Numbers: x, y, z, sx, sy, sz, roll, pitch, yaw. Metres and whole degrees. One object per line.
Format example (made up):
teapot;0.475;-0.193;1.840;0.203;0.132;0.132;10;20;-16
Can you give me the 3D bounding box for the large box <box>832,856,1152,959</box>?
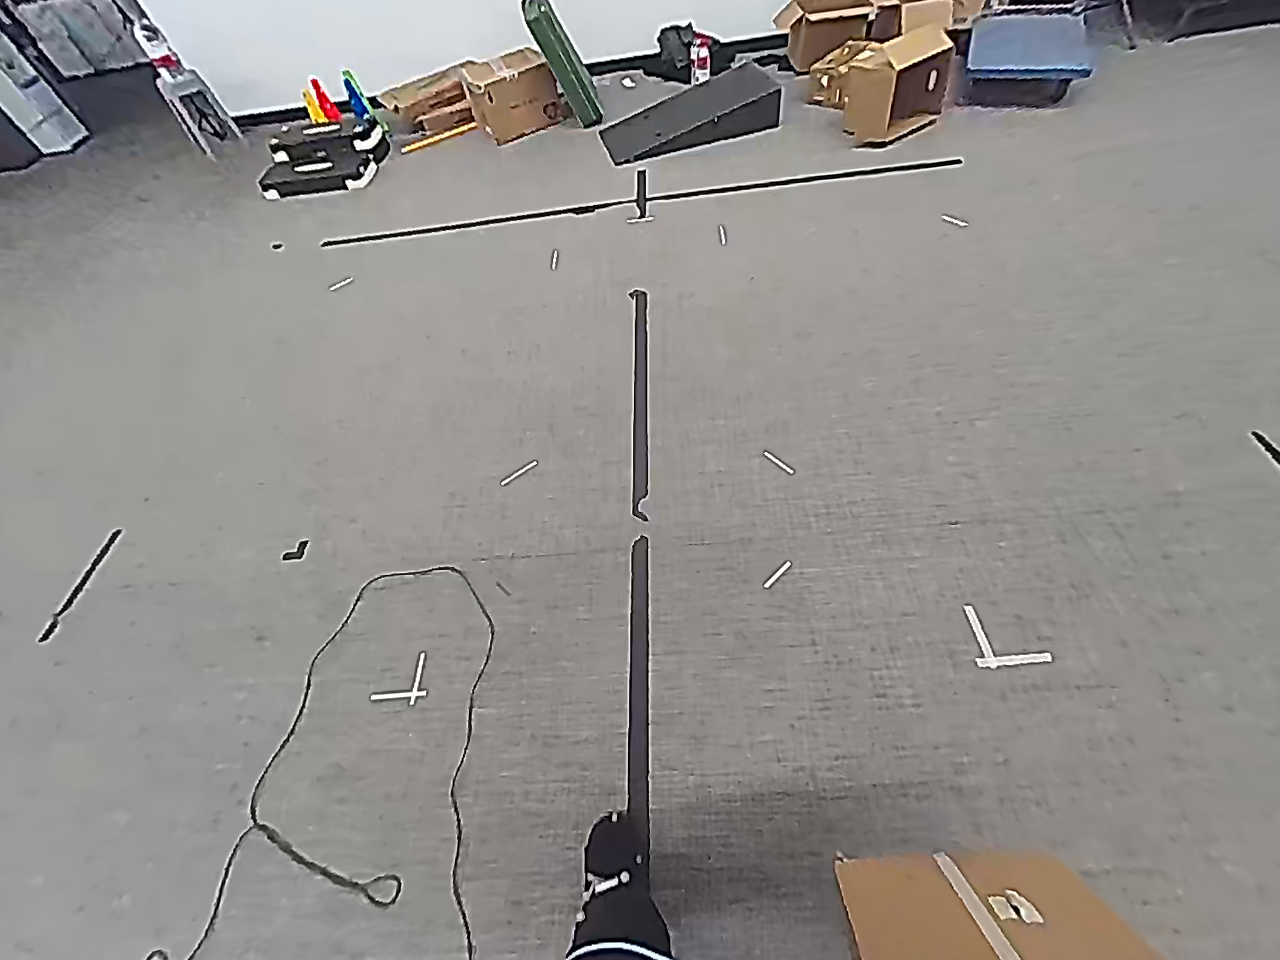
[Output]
large box;0.437;0.698;0.602;0.320;0.408;0.320;-8;79;8
